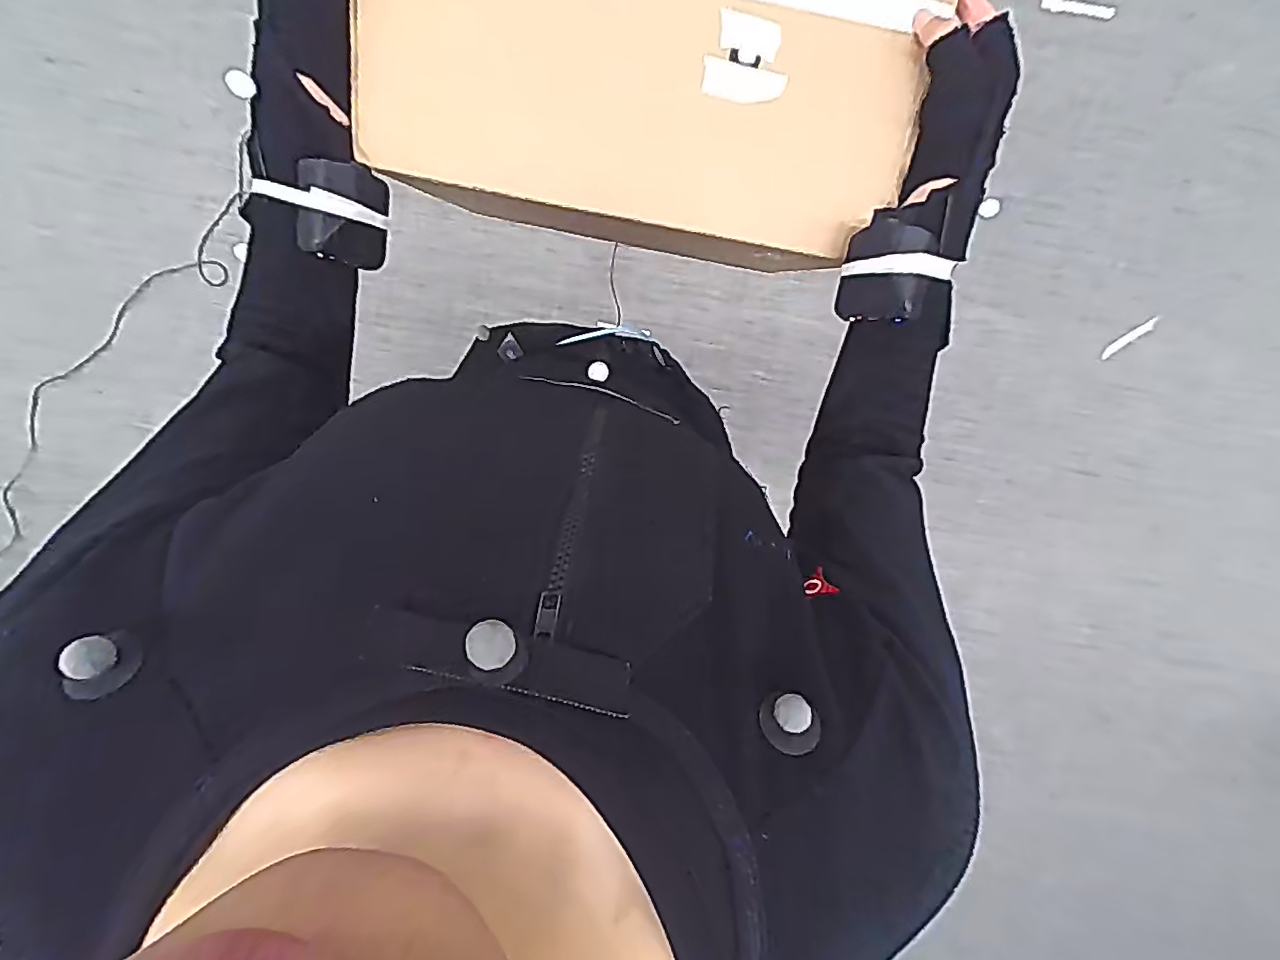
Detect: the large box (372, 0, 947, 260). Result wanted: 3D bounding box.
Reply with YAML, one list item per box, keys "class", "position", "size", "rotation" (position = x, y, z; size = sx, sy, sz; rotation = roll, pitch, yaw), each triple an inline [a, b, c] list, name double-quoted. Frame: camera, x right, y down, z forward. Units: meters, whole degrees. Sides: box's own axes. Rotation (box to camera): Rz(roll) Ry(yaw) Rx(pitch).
- class: "large box"
  position: [0.012, -0.406, 0.509]
  size: [0.408, 0.320, 0.320]
  rotation: [8, 111, -6]
